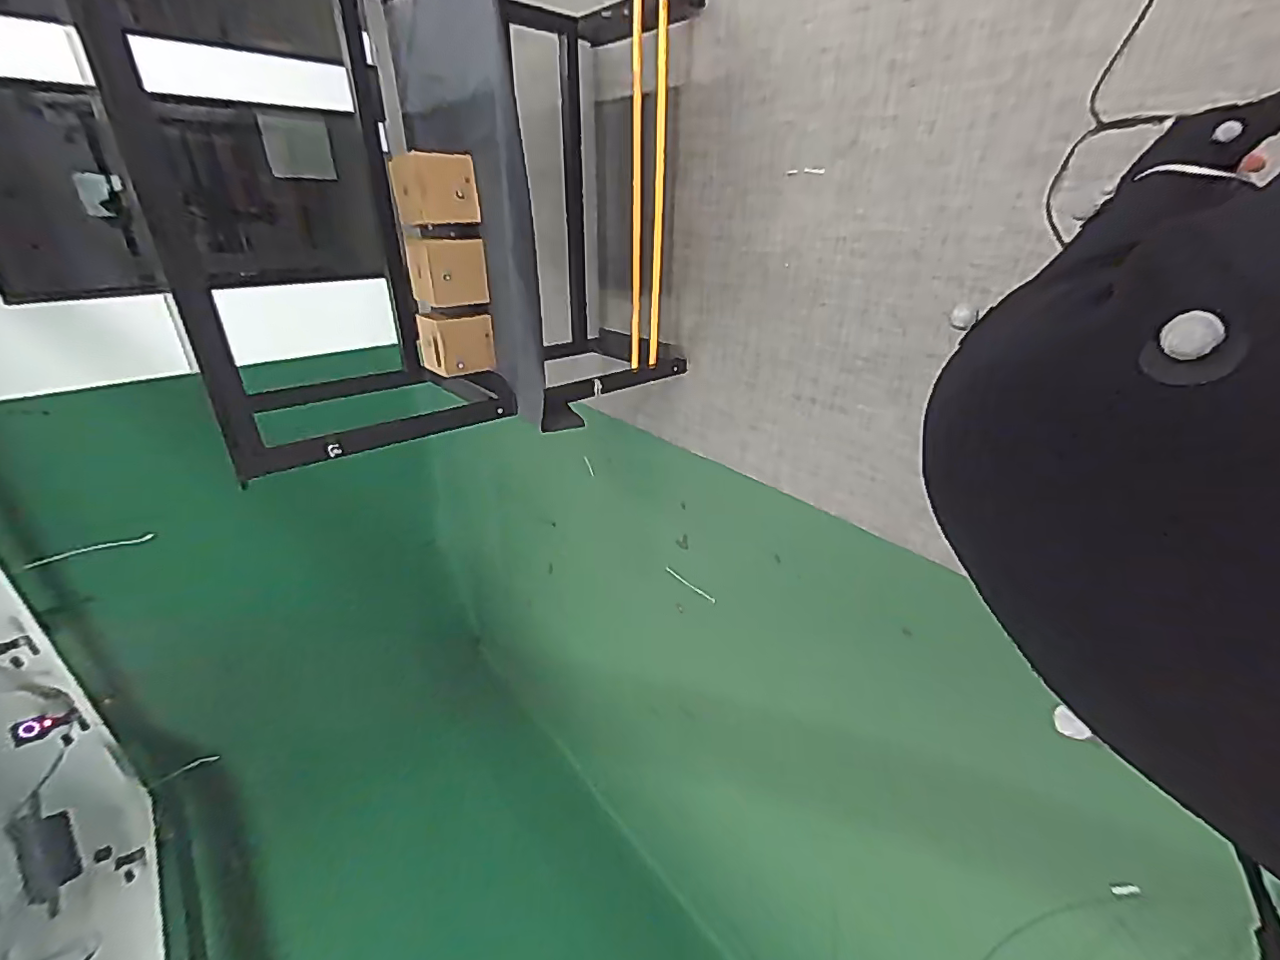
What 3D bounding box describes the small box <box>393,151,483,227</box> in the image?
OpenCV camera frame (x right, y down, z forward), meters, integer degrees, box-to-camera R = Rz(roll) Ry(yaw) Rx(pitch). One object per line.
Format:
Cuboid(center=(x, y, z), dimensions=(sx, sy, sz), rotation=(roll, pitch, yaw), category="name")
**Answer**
Cuboid(center=(-0.559, -0.801, 1.503), dimensions=(0.179, 0.176, 0.168), rotation=(20, 122, 45), category="small box")
